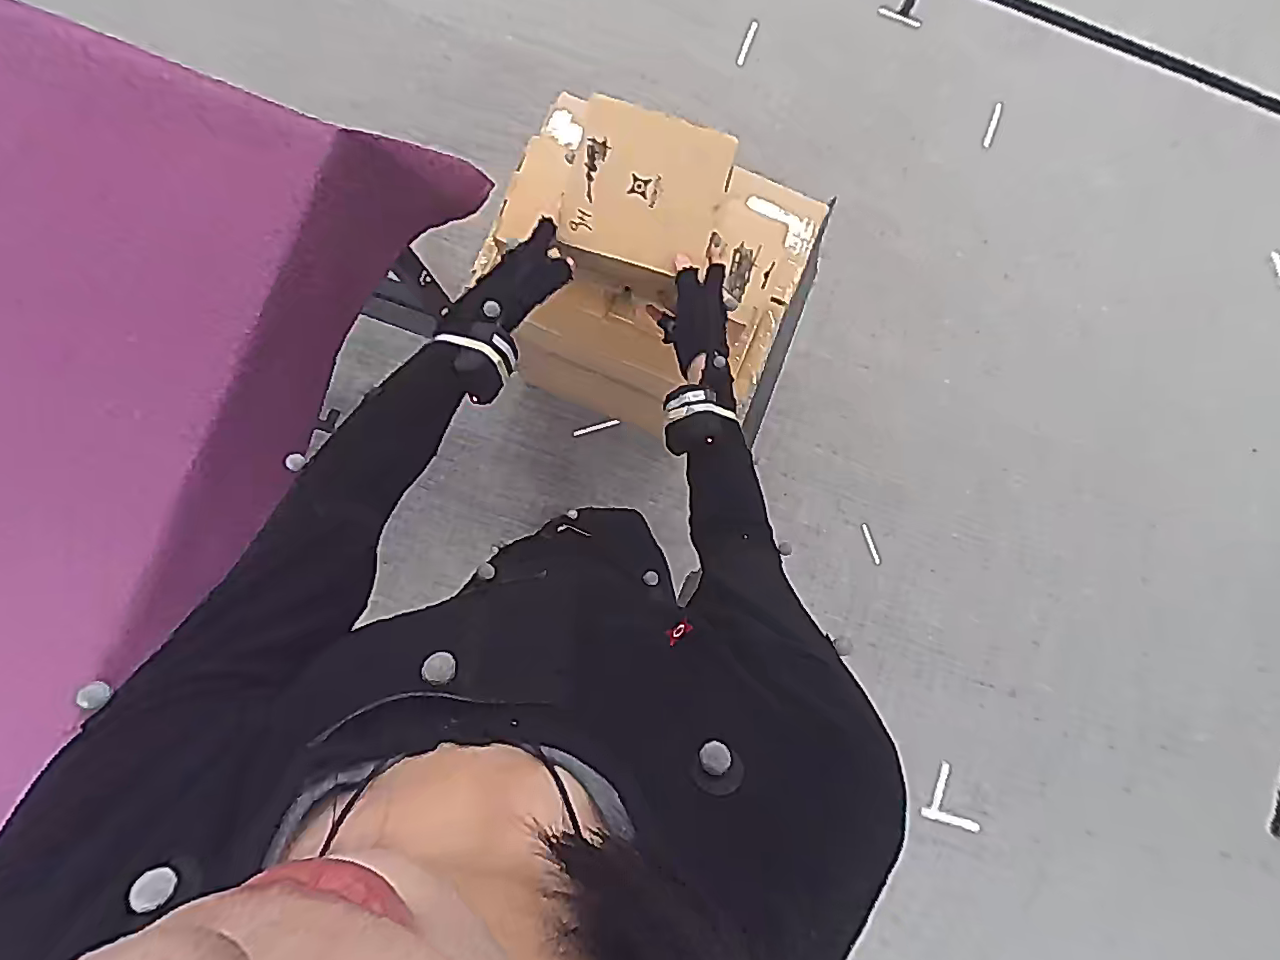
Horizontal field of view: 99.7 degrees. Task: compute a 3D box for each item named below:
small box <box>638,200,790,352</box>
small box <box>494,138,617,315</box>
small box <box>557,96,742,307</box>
[{"bbox_3d":[0.108,-0.322,0.862,0.179,0.176,0.168,24,86,1],"label":"small box"},{"bbox_3d":[-0.105,-0.385,0.856,0.179,0.176,0.168,21,86,-3],"label":"small box"},{"bbox_3d":[0.007,-0.331,0.685,0.179,0.176,0.168,15,95,-3],"label":"small box"}]
